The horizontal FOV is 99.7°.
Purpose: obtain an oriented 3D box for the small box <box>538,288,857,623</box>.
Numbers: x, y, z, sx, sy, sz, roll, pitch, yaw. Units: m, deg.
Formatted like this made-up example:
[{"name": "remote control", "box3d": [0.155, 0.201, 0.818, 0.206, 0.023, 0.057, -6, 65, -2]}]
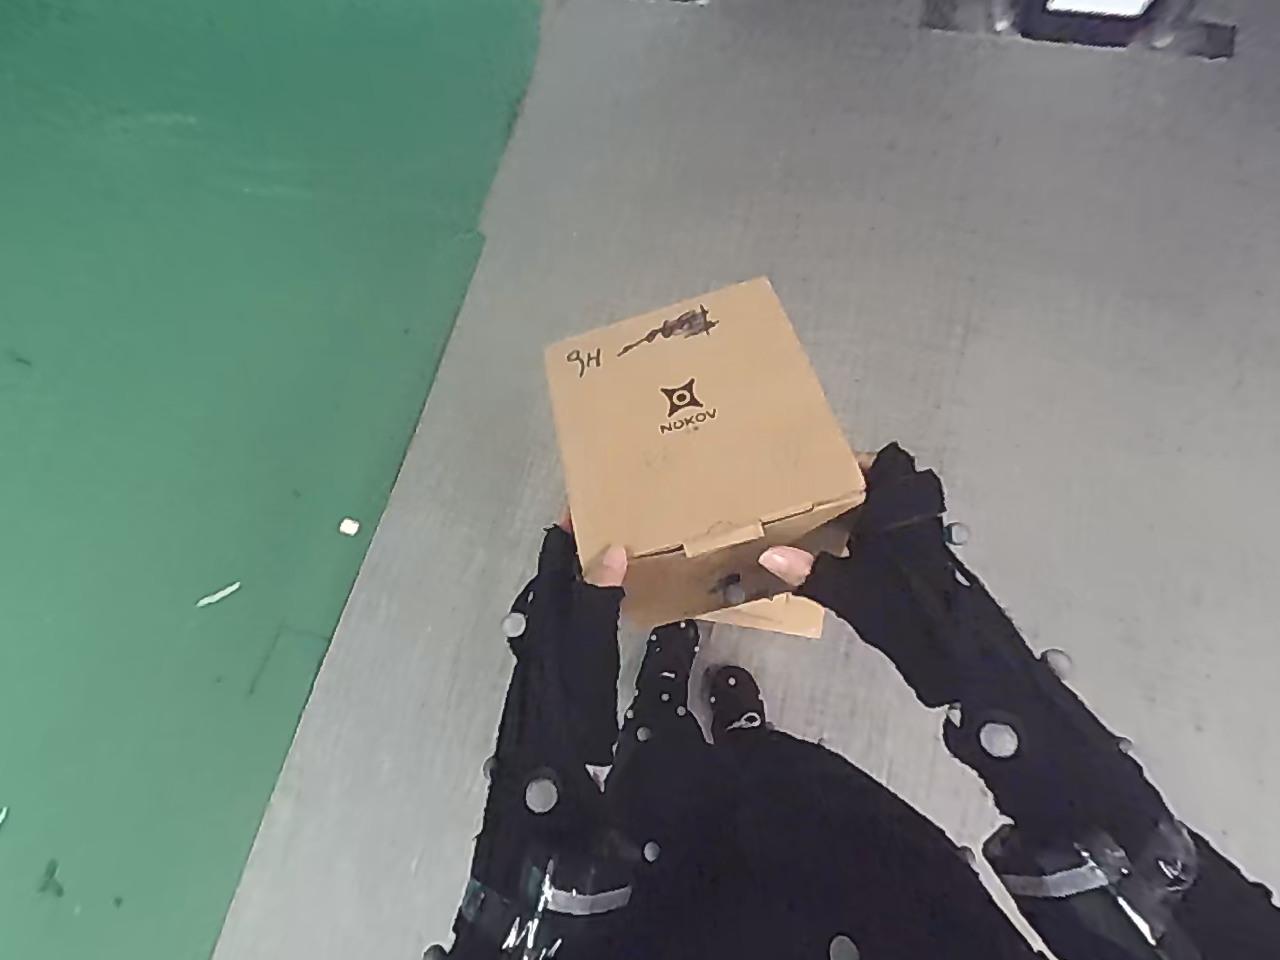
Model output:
[{"name": "small box", "box3d": [0.040, -0.001, 0.407, 0.168, 0.176, 0.179, -17, 63, 4]}]
